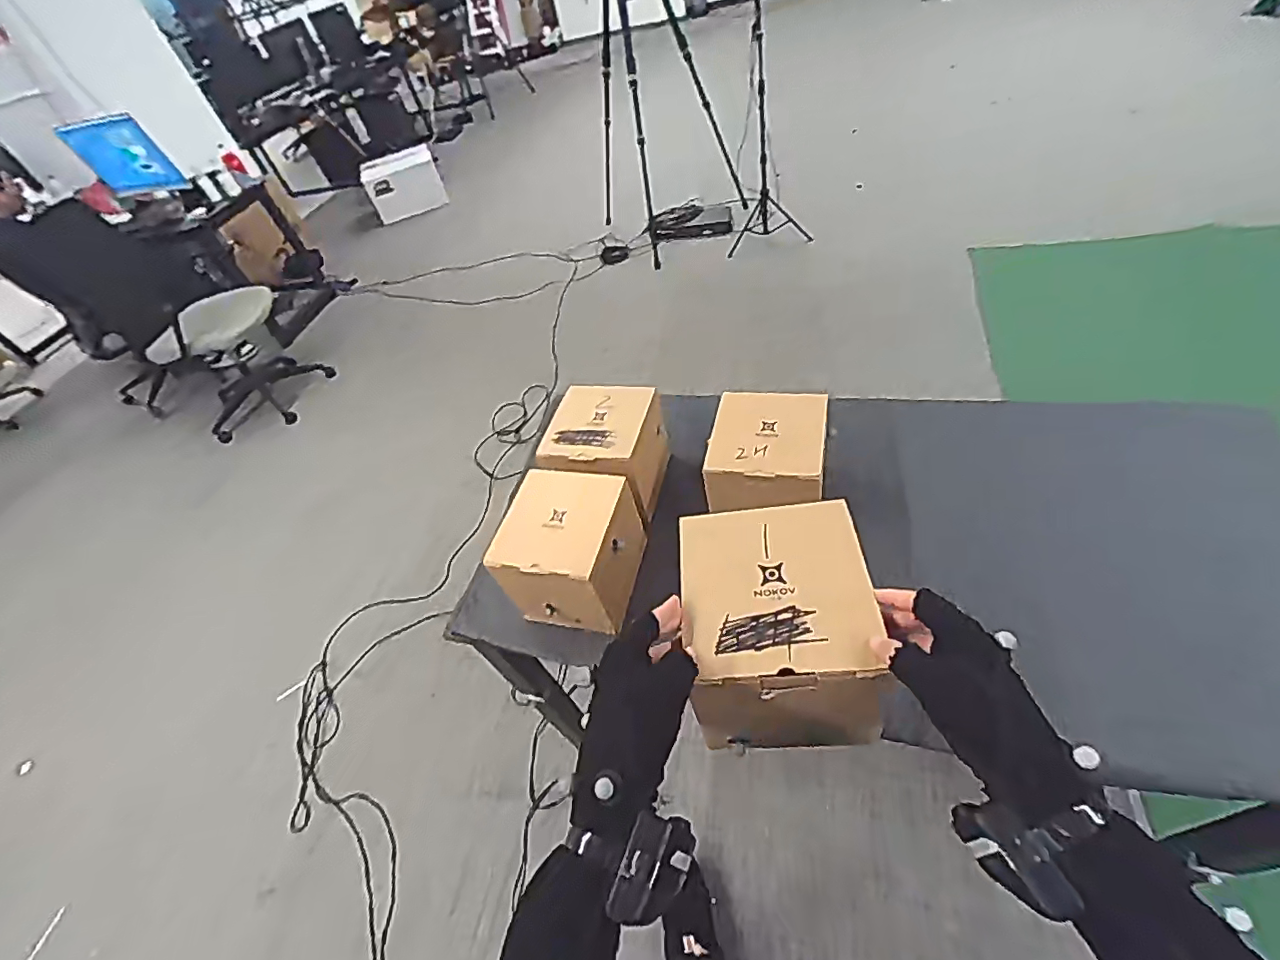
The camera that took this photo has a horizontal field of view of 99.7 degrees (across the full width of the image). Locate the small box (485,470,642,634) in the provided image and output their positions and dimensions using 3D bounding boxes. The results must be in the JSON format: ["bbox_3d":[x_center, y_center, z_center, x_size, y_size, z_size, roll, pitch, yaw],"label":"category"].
[{"bbox_3d":[-0.103,0.109,0.832,0.168,0.176,0.179,5,51,19],"label":"small box"}]

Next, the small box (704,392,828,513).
[{"bbox_3d":[0.205,-0.020,0.866,0.168,0.176,0.179,4,51,19],"label":"small box"}]

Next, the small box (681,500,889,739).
[{"bbox_3d":[0.134,0.146,0.540,0.168,0.176,0.179,-6,45,10],"label":"small box"}]
